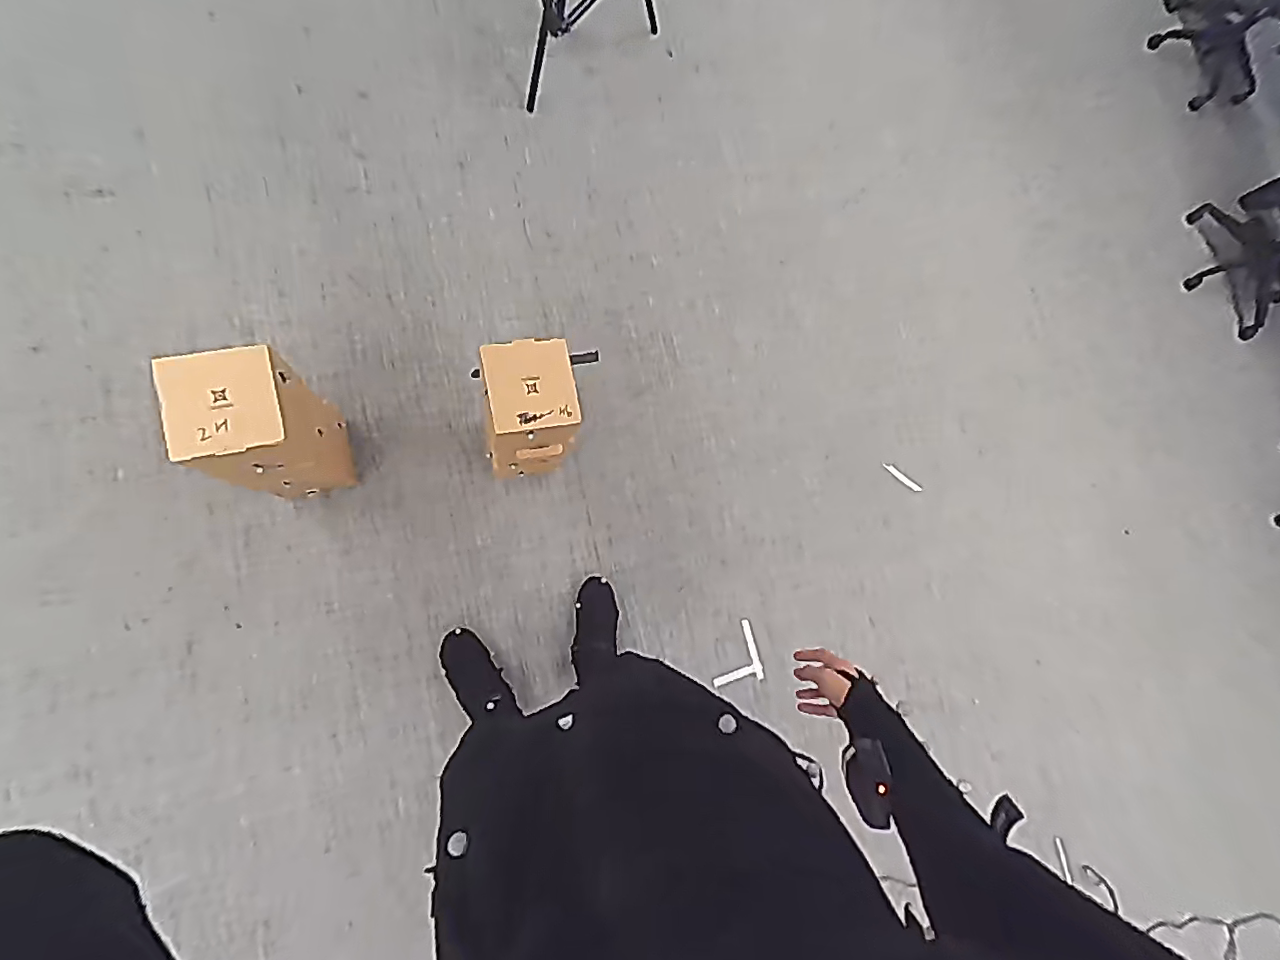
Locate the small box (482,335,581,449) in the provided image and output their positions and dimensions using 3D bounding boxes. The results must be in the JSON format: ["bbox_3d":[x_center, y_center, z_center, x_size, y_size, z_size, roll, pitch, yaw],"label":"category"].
[{"bbox_3d":[-0.227,-0.175,1.099,0.168,0.176,0.179,-9,82,-18],"label":"small box"}]

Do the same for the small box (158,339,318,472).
[{"bbox_3d":[-0.697,-0.126,0.956,0.168,0.176,0.179,-13,85,-16],"label":"small box"}]

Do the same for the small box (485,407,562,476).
[{"bbox_3d":[-0.310,-0.118,1.412,0.168,0.176,0.179,-9,83,-18],"label":"small box"}]

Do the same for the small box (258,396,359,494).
[{"bbox_3d":[-0.781,-0.077,1.269,0.168,0.176,0.179,-13,84,-17],"label":"small box"}]

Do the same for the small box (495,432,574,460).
[{"bbox_3d":[-0.258,-0.148,1.259,0.168,0.176,0.179,-9,83,-18],"label":"small box"}]
